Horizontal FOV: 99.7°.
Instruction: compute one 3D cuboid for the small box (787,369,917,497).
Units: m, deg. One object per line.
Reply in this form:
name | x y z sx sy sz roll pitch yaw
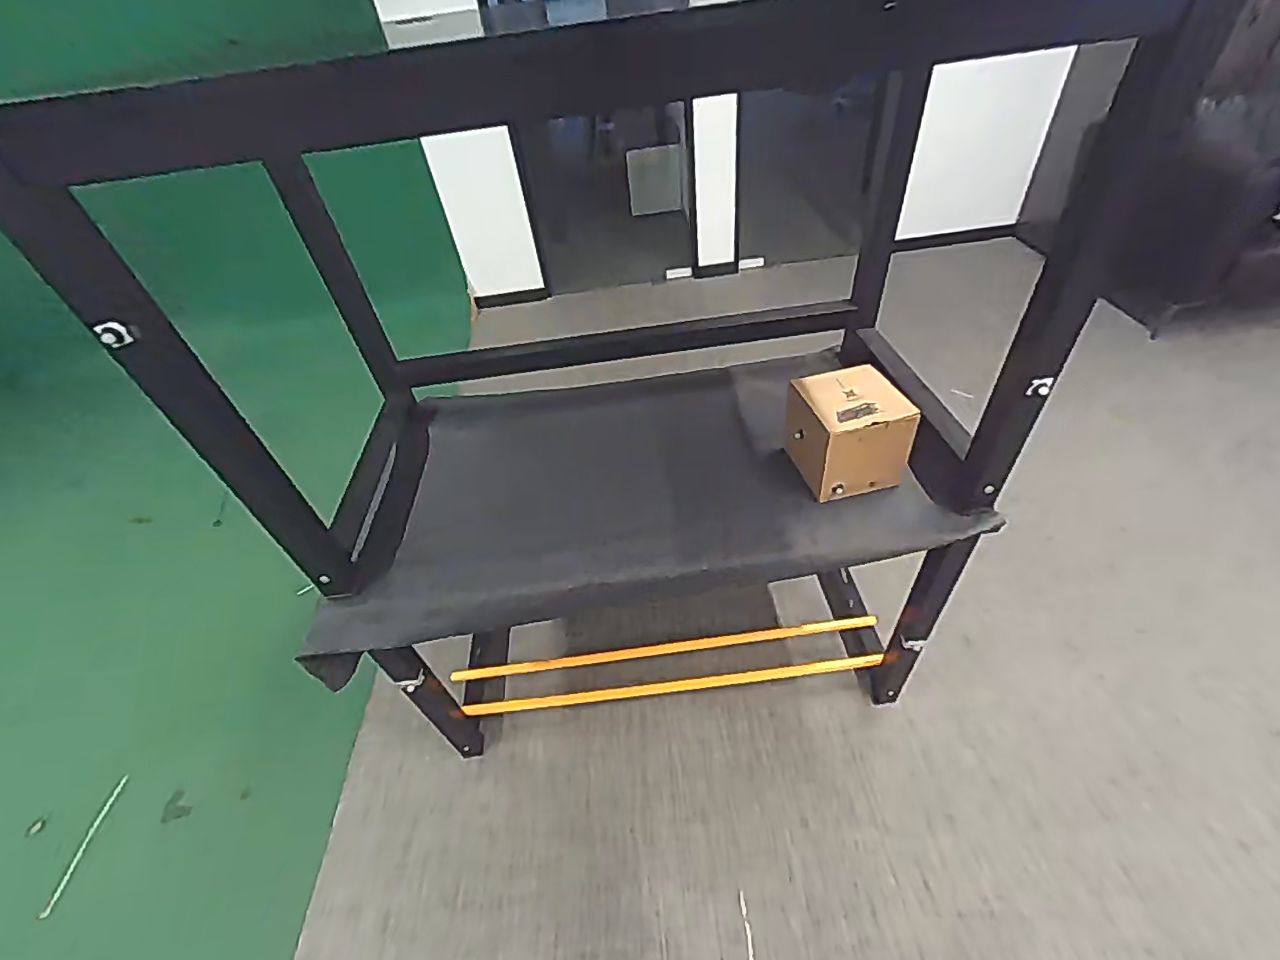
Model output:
small box | 0.393 -0.084 1.034 0.168 0.176 0.179 -12 42 -3
